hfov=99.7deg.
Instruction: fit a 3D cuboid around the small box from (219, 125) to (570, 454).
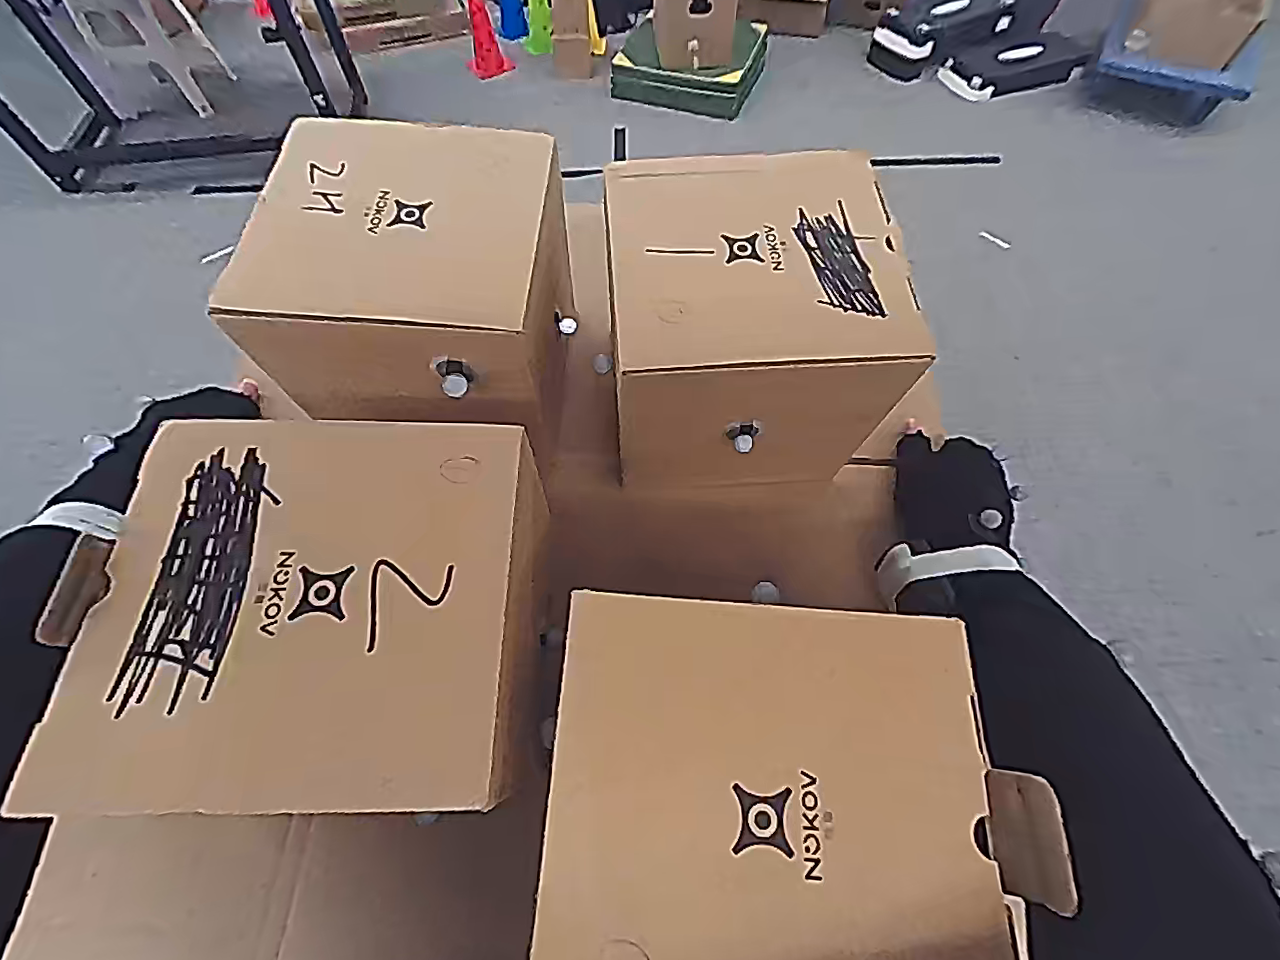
[{"bbox_3d":[-0.152,-0.130,0.412,0.179,0.176,0.168,3,66,0],"label":"small box"}]
